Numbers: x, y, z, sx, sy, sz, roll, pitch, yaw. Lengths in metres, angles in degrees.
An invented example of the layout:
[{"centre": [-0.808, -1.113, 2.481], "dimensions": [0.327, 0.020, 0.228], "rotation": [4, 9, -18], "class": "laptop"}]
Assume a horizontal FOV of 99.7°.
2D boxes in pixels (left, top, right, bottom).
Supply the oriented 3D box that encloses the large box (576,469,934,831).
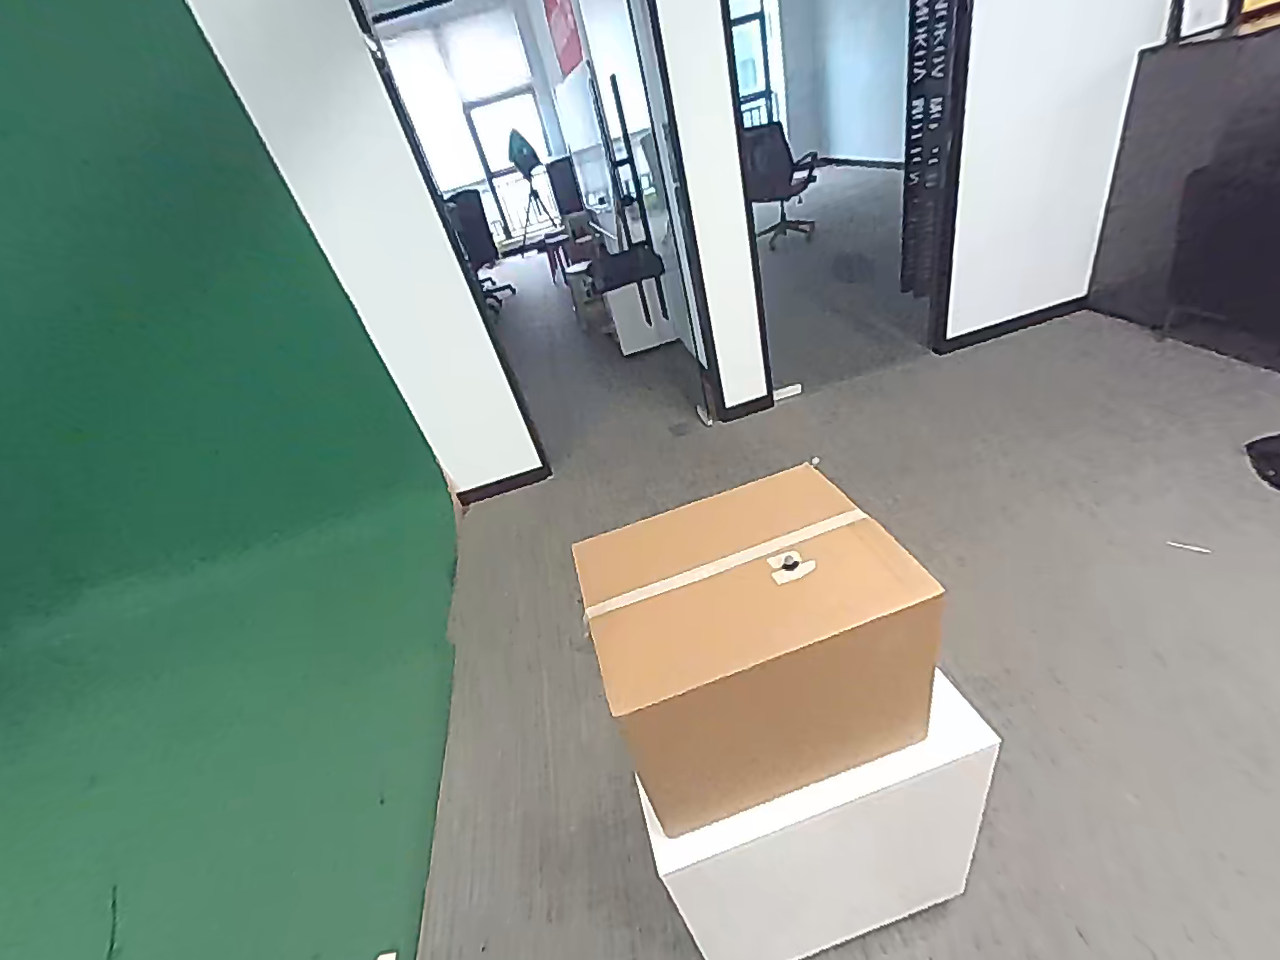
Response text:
[{"centre": [0.153, 0.238, 0.816], "dimensions": [0.408, 0.320, 0.320], "rotation": [-18, 34, -6], "class": "large box"}]
